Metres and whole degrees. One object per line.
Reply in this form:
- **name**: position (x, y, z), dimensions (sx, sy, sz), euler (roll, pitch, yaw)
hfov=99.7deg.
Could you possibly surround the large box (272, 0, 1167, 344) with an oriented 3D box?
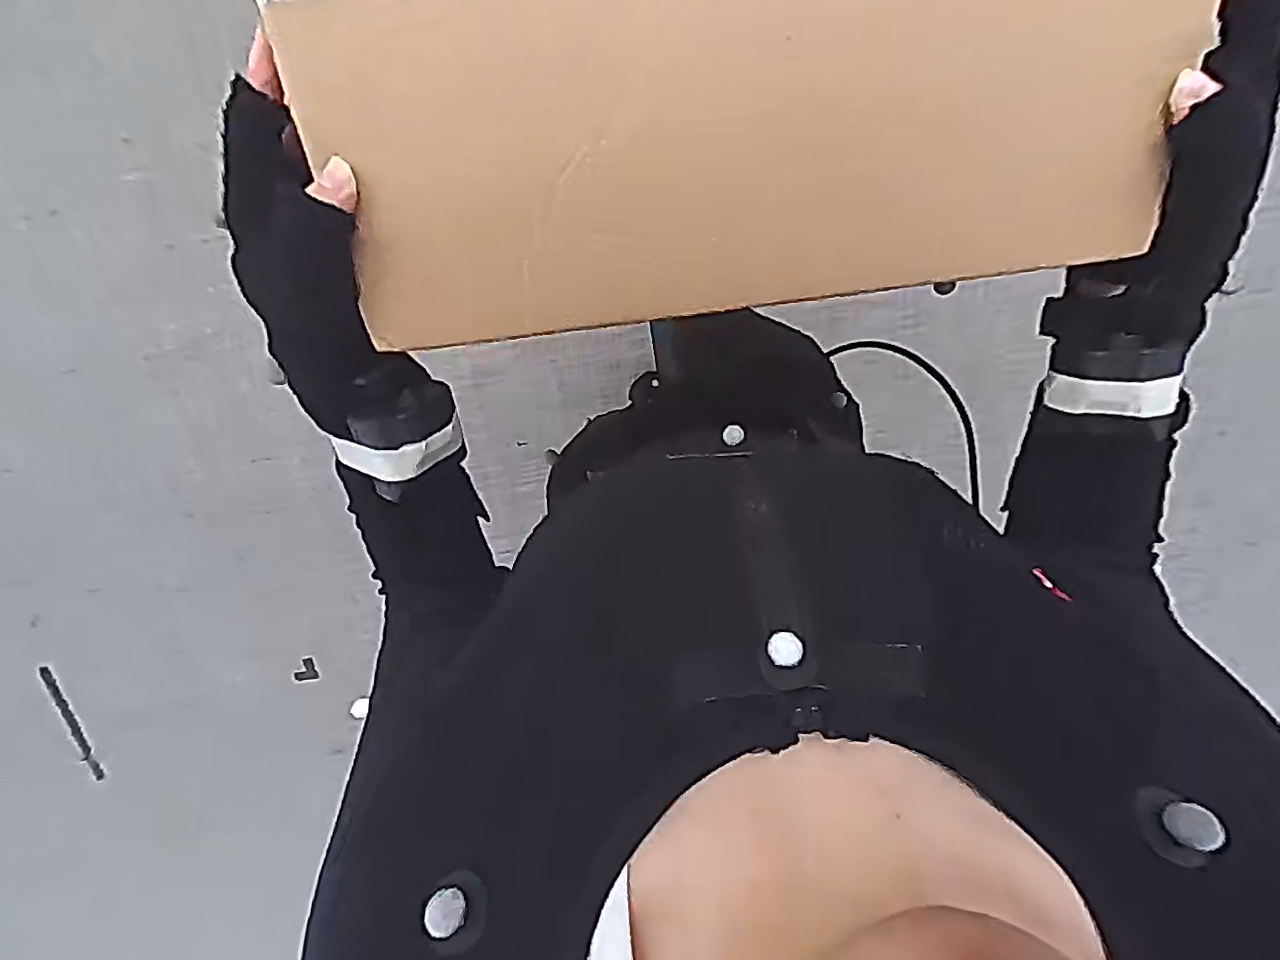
- **large box**: position (0.032, -0.303, 0.360), dimensions (0.408, 0.320, 0.320), euler (-7, 115, 1)
